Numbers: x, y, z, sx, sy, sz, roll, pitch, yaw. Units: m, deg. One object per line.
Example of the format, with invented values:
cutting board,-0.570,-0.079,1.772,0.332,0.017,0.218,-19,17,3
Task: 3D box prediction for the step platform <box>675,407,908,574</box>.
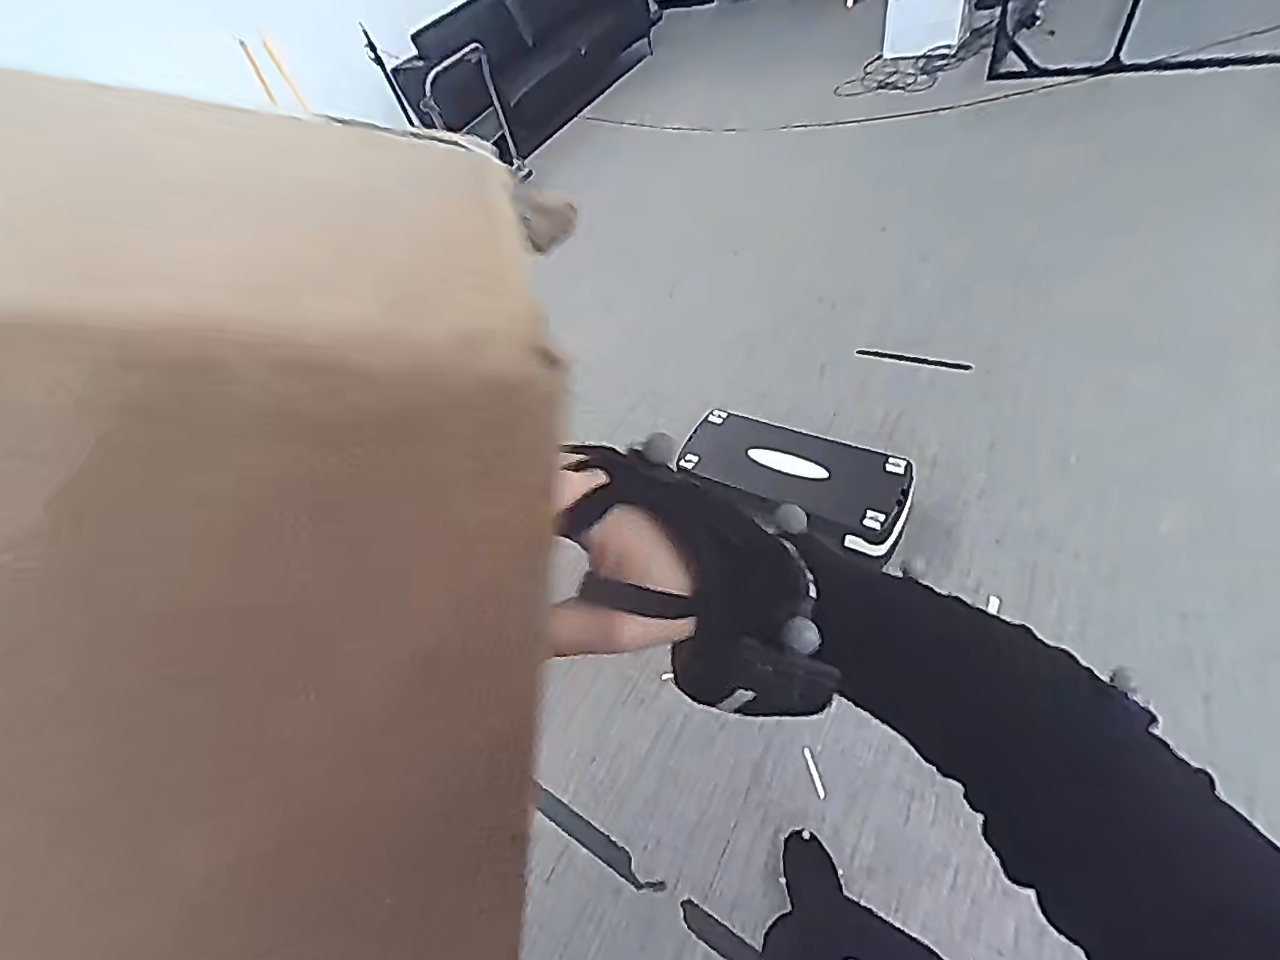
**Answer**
step platform,0.443,0.004,1.670,0.684,0.204,0.286,24,63,32
